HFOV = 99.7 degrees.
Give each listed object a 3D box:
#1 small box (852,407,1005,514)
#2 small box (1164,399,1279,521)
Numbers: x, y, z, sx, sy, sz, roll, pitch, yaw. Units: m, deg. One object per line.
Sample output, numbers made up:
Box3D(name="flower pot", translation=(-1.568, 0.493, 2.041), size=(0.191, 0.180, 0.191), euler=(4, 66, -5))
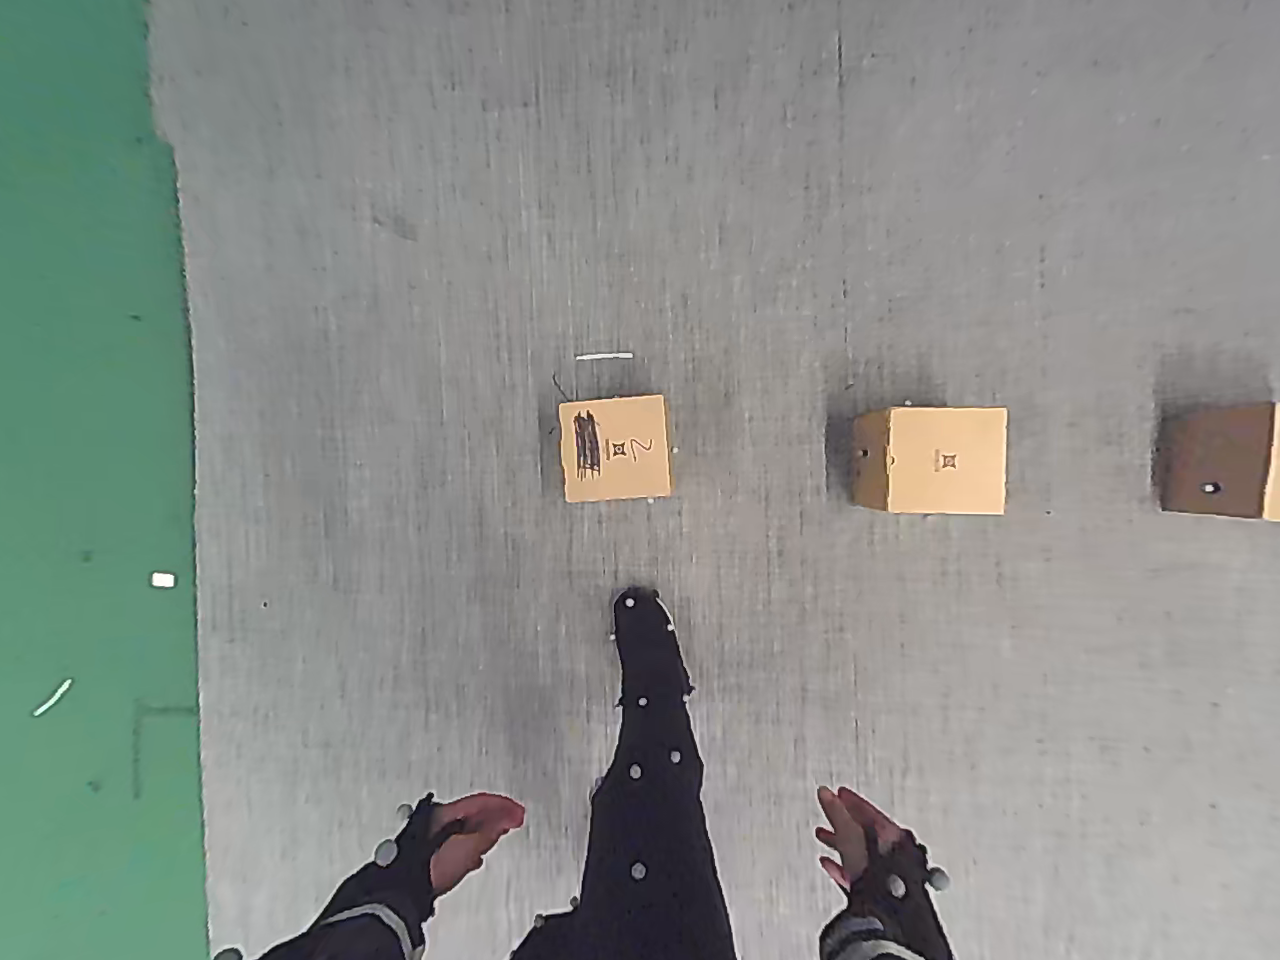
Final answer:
Box3D(name="small box", translation=(0.472, -0.033, 0.906), size=(0.179, 0.176, 0.168), euler=(0, 91, 6))
Box3D(name="small box", translation=(0.993, -0.026, 0.858), size=(0.168, 0.176, 0.179), euler=(4, 91, 4))
